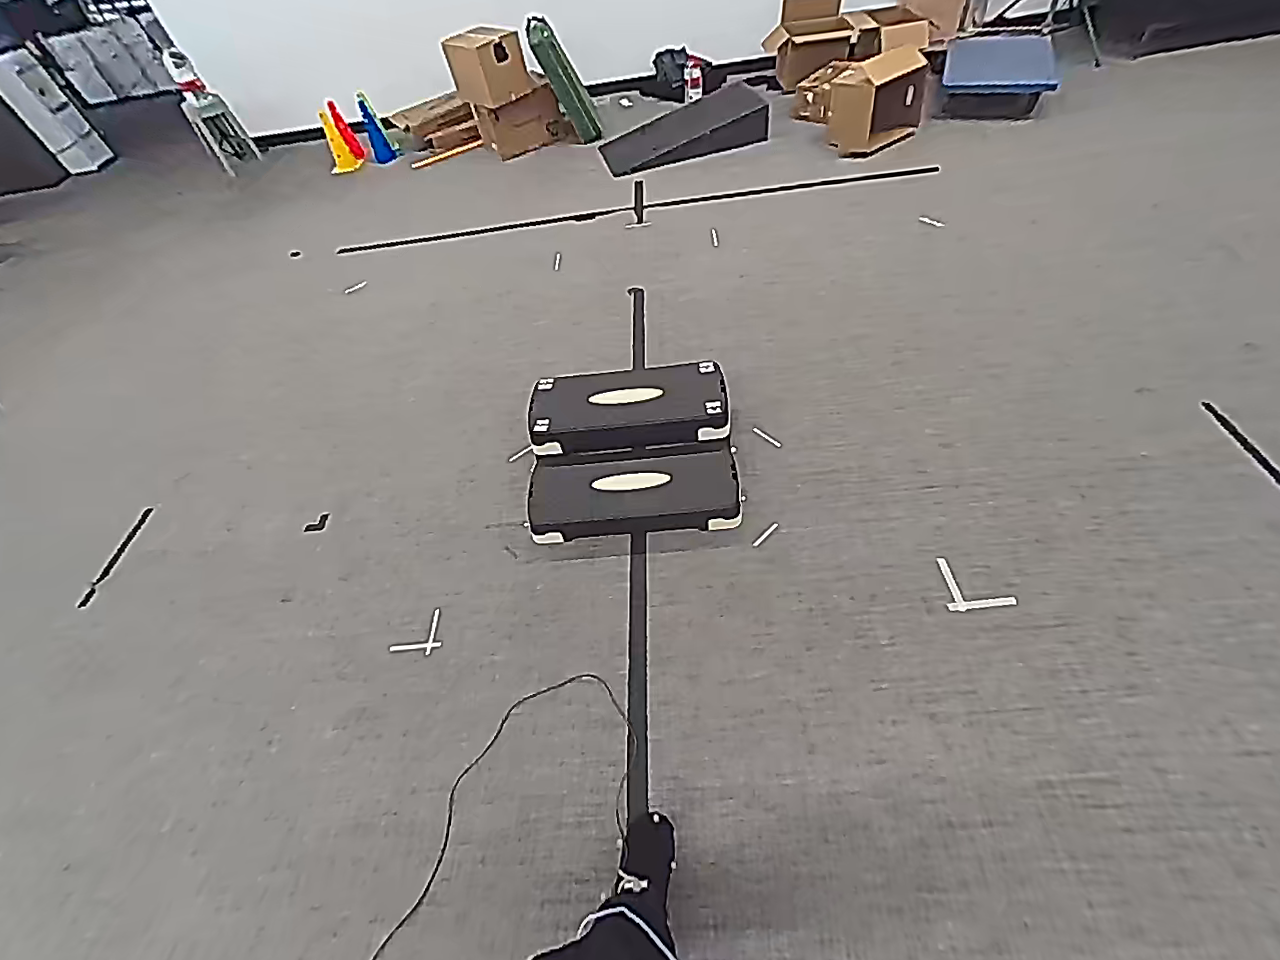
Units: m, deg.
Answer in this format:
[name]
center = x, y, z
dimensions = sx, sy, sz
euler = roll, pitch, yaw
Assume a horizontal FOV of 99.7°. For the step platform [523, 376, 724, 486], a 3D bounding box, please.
[step platform]
center = -0.056, -0.172, 1.870
dimensions = 0.684, 0.204, 0.286
euler = -5, 52, 4
